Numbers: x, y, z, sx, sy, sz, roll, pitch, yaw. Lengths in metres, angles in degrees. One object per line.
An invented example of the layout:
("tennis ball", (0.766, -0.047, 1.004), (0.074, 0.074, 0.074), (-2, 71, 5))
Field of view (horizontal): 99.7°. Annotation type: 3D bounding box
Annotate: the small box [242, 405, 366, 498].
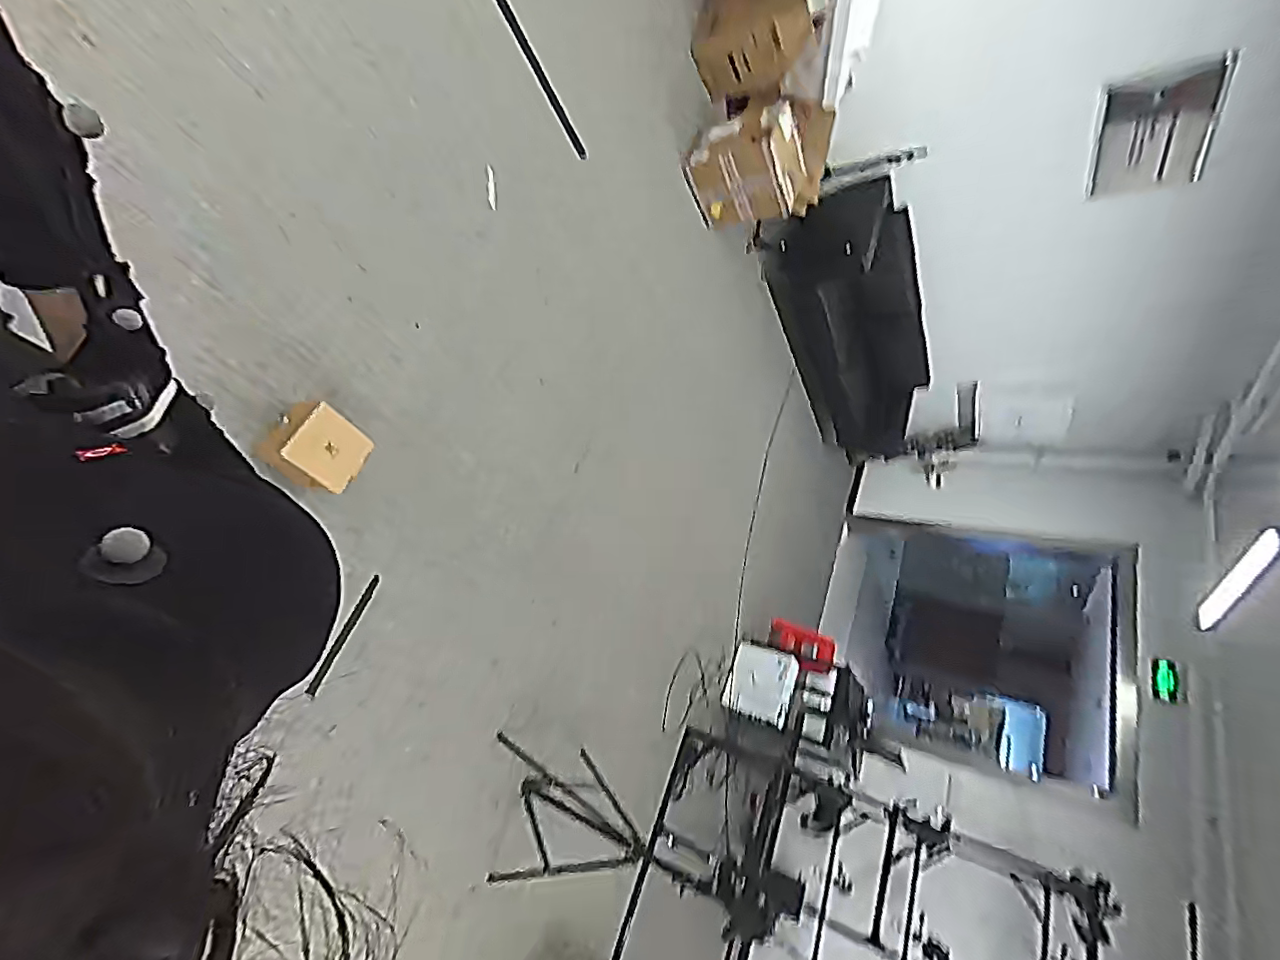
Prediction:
("small box", (-0.856, -0.076, 1.382), (0.179, 0.176, 0.168), (54, 50, -44))
